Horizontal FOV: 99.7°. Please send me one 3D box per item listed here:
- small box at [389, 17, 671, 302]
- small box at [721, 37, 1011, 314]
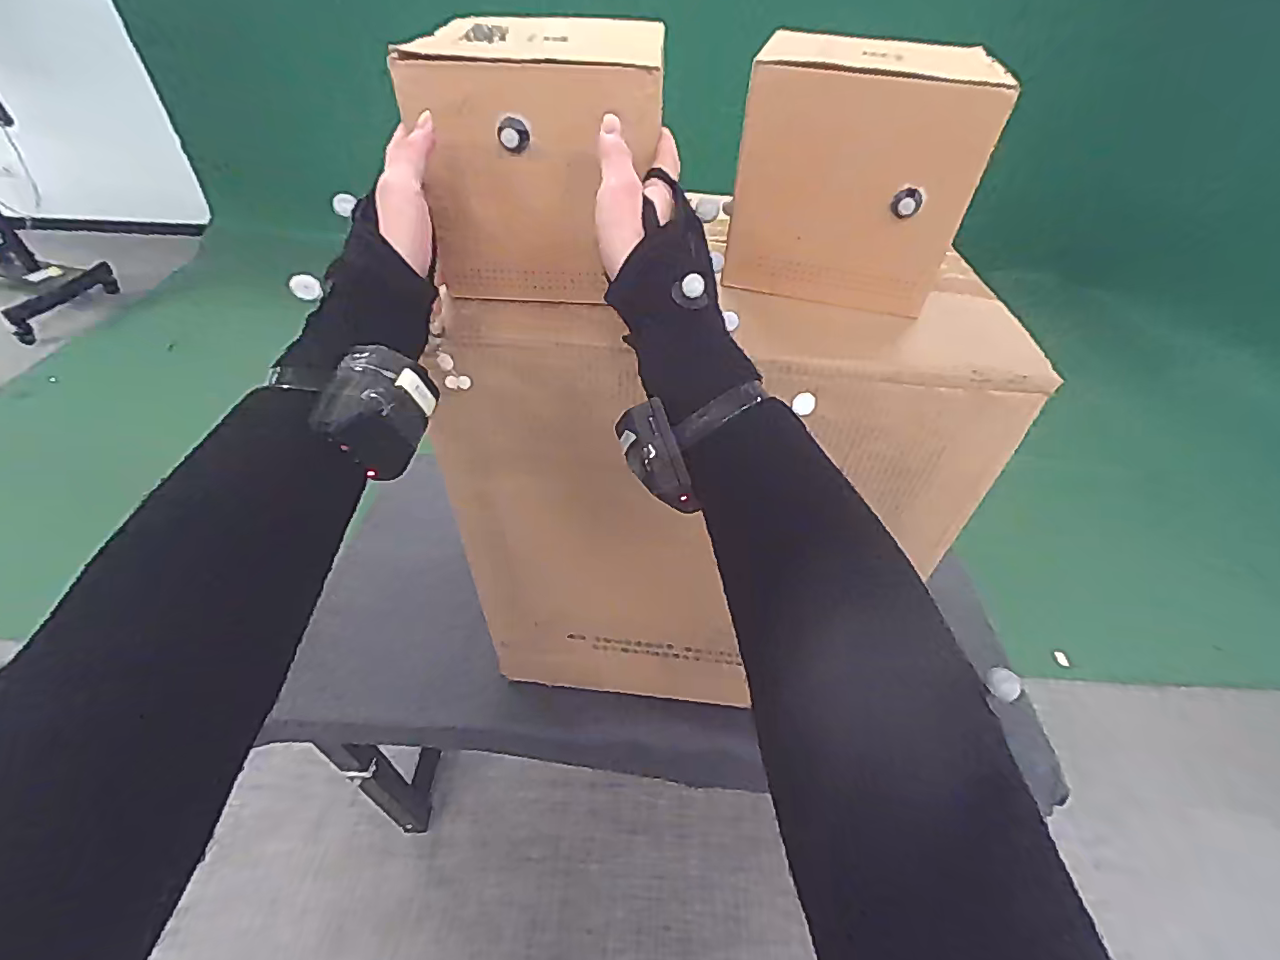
[{"bbox_3d":[-0.070,-0.269,0.460,0.179,0.176,0.168,6,50,5],"label":"small box"},{"bbox_3d":[0.181,-0.266,0.478,0.179,0.176,0.168,13,46,11],"label":"small box"}]
